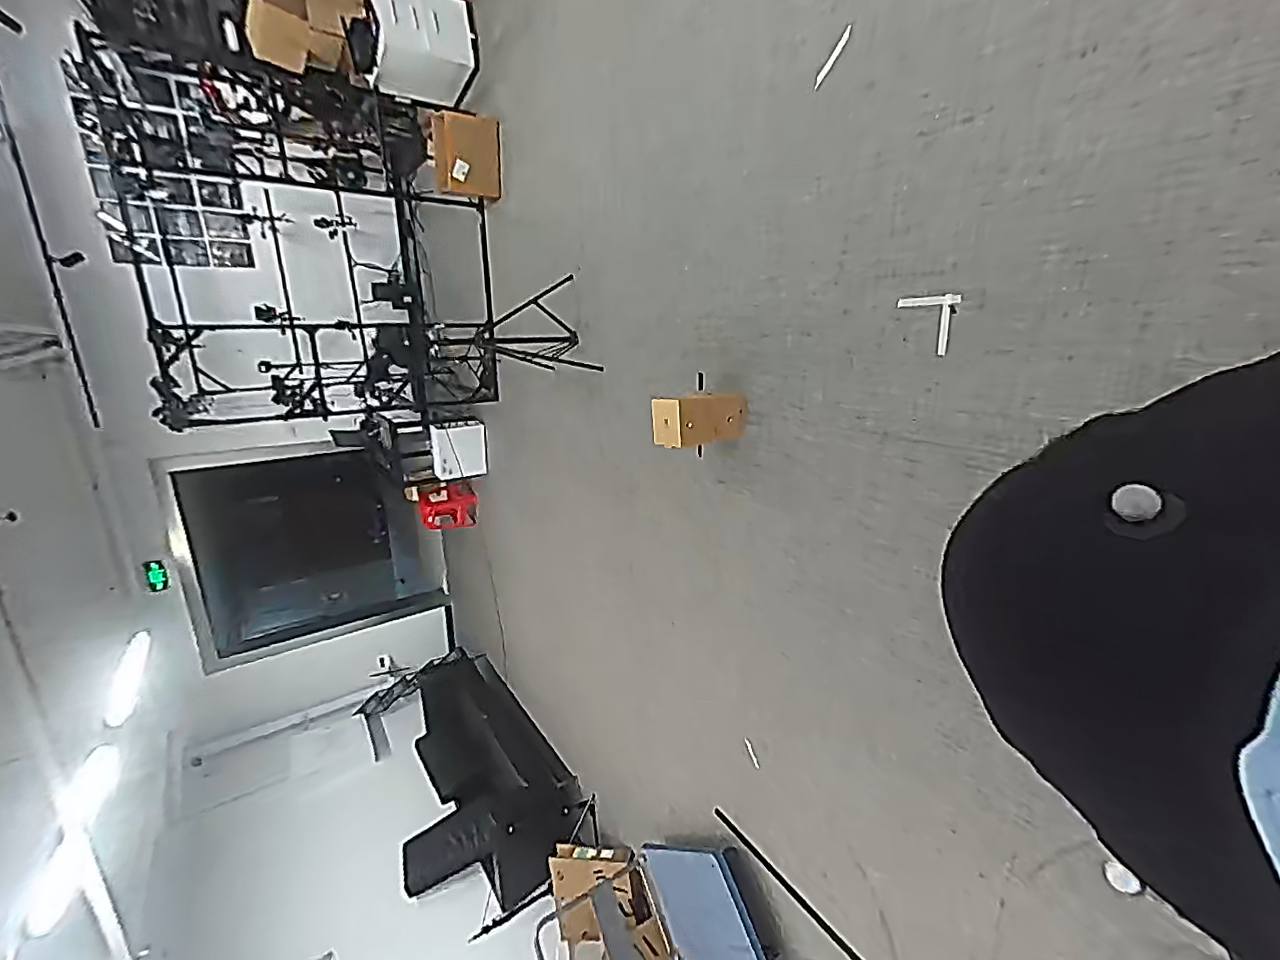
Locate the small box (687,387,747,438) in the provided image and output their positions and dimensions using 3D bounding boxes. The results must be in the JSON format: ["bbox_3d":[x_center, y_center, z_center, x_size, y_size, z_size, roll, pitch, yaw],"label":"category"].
[{"bbox_3d":[0.301,-0.271,2.132,0.179,0.176,0.168,26,121,51],"label":"small box"}]

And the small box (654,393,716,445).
[{"bbox_3d":[0.172,-0.235,2.038,0.168,0.176,0.179,13,112,54],"label":"small box"}]
